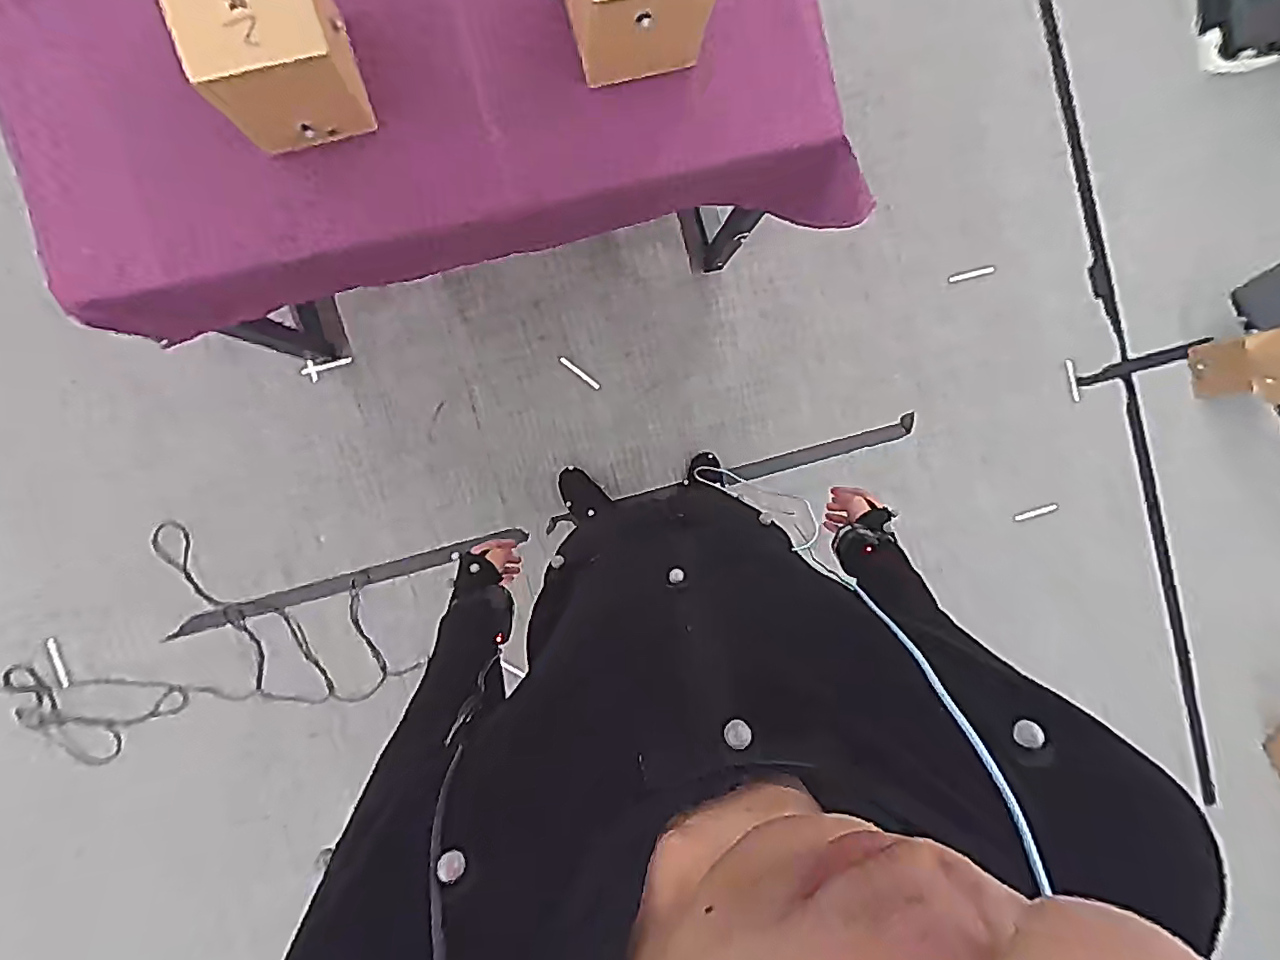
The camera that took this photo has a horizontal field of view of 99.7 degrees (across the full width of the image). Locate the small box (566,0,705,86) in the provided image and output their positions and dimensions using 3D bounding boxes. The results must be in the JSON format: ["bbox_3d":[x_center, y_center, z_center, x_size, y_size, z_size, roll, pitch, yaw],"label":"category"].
[{"bbox_3d":[-0.011,-0.701,0.763,0.179,0.176,0.168,-17,95,-6],"label":"small box"}]
